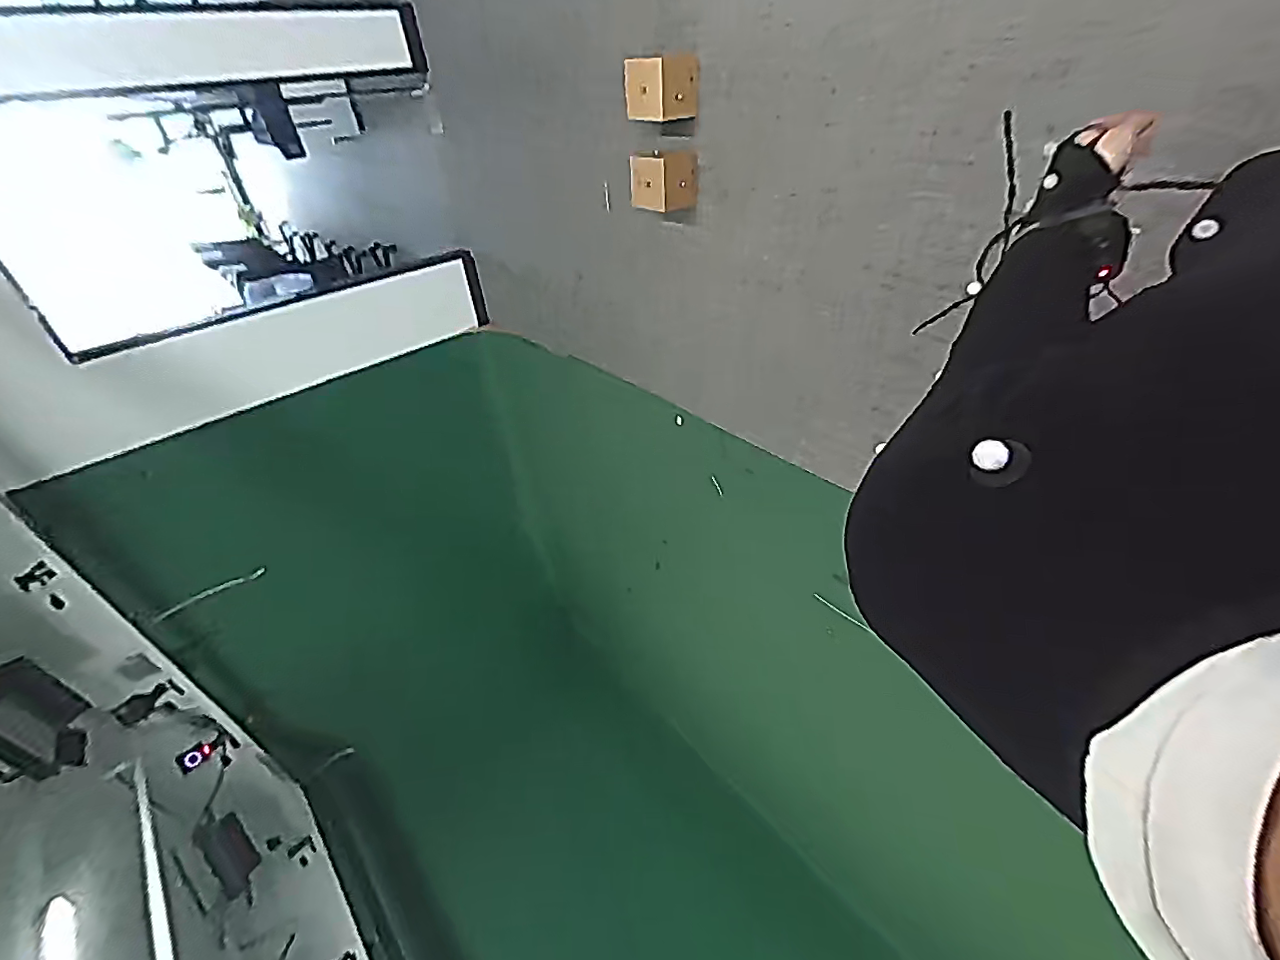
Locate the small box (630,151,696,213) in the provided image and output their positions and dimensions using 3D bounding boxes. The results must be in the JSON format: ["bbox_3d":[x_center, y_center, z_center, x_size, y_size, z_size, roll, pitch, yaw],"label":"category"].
[{"bbox_3d":[0.088,-1.075,1.943,0.179,0.176,0.168,33,140,37],"label":"small box"}]

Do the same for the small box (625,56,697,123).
[{"bbox_3d":[0.074,-1.288,1.781,0.179,0.176,0.168,33,141,37],"label":"small box"}]
